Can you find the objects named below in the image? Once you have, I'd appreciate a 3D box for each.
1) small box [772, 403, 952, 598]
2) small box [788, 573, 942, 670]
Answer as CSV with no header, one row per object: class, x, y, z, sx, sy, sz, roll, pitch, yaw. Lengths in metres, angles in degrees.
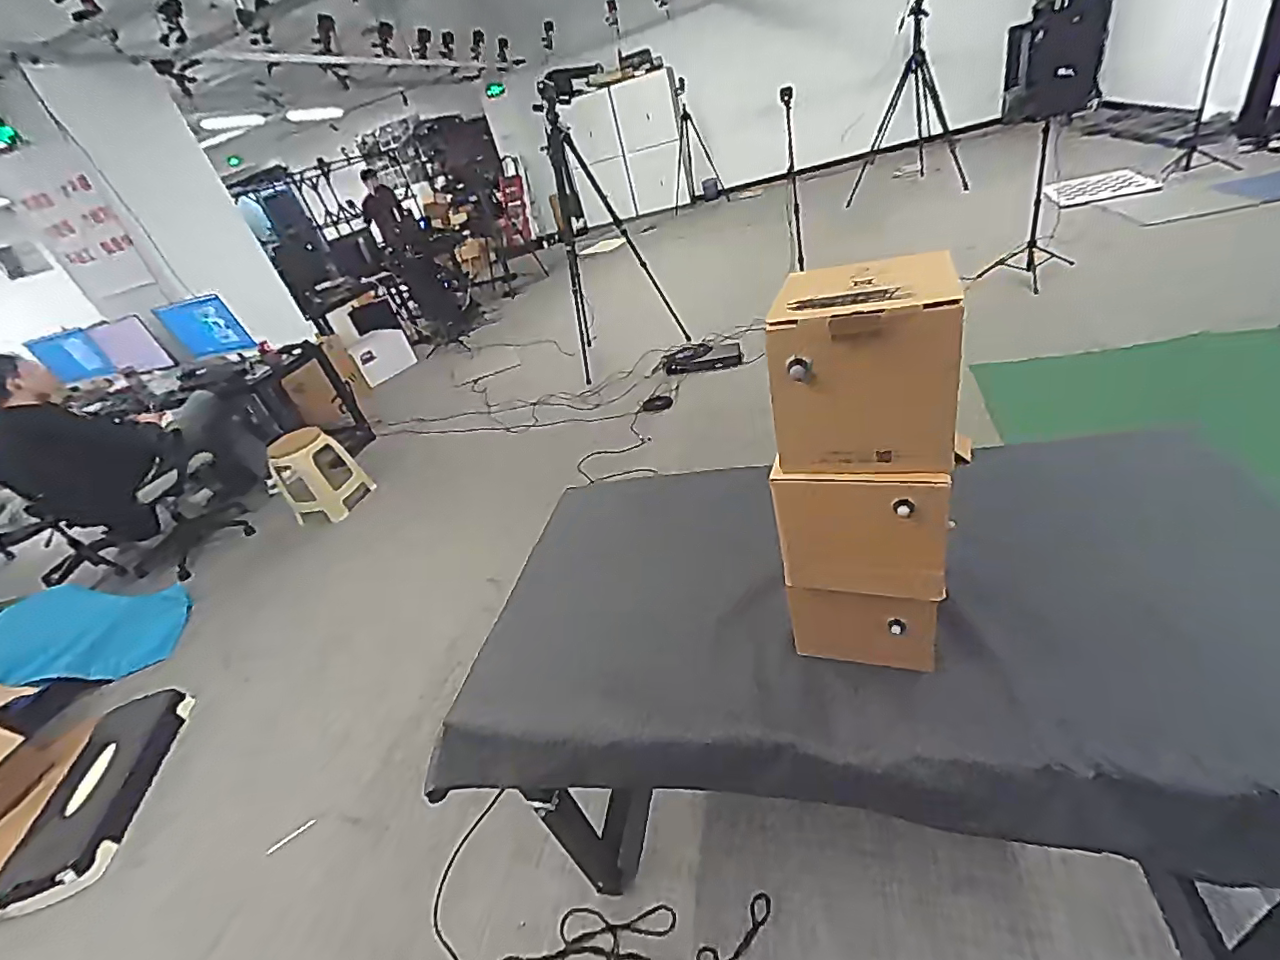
small box,0.271,0.022,0.653,0.179,0.176,0.168,2,36,26
small box,0.315,0.141,0.756,0.179,0.176,0.168,-1,35,25
